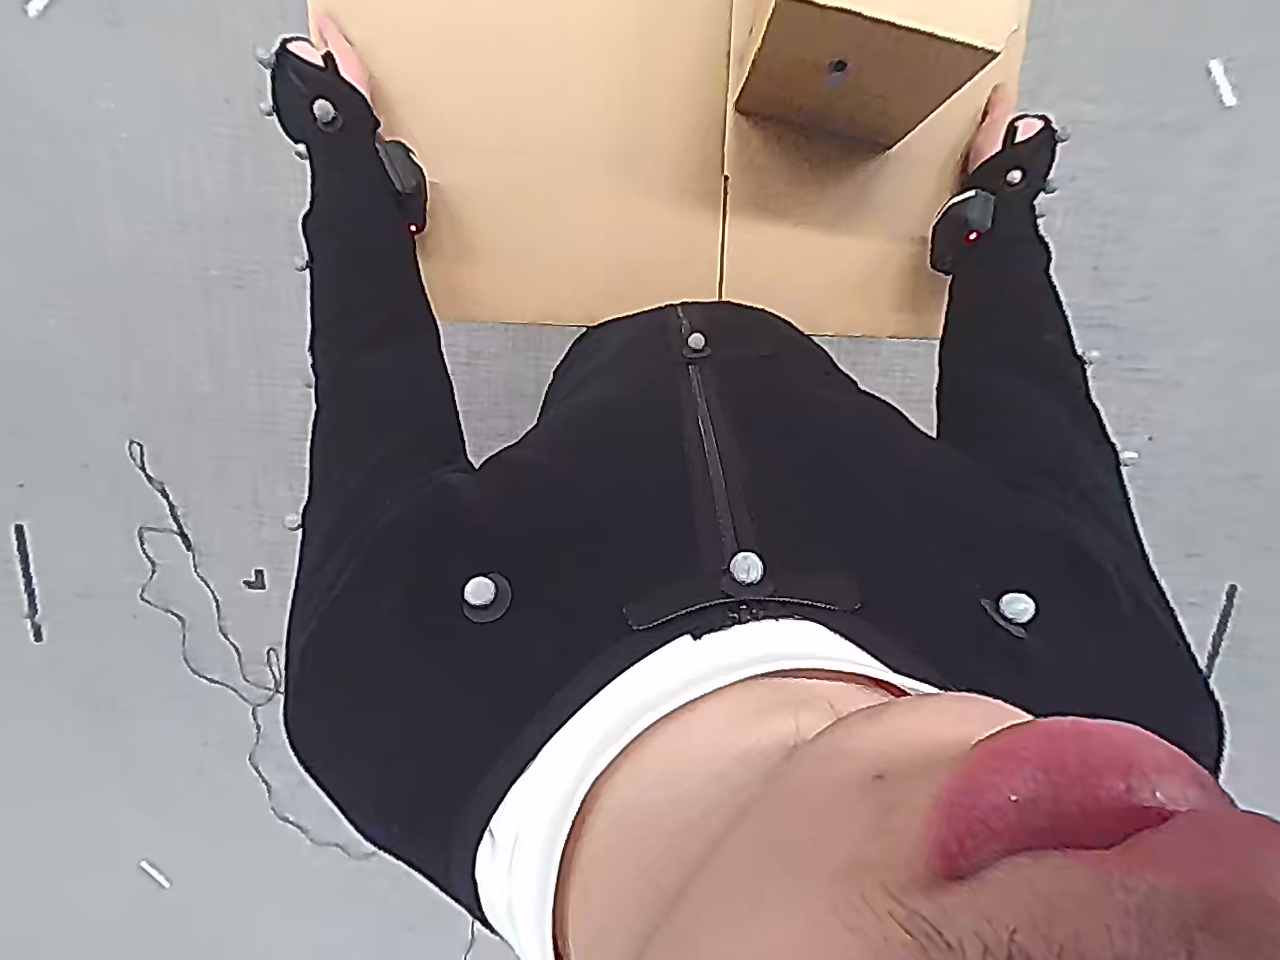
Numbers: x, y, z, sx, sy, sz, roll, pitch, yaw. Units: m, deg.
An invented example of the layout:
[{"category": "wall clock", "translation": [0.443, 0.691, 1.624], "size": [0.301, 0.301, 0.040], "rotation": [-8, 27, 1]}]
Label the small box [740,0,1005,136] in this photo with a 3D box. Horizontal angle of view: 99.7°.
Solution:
[{"category": "small box", "translation": [0.197, -0.434, 0.470], "size": [0.179, 0.176, 0.168], "rotation": [11, 101, -3]}]
